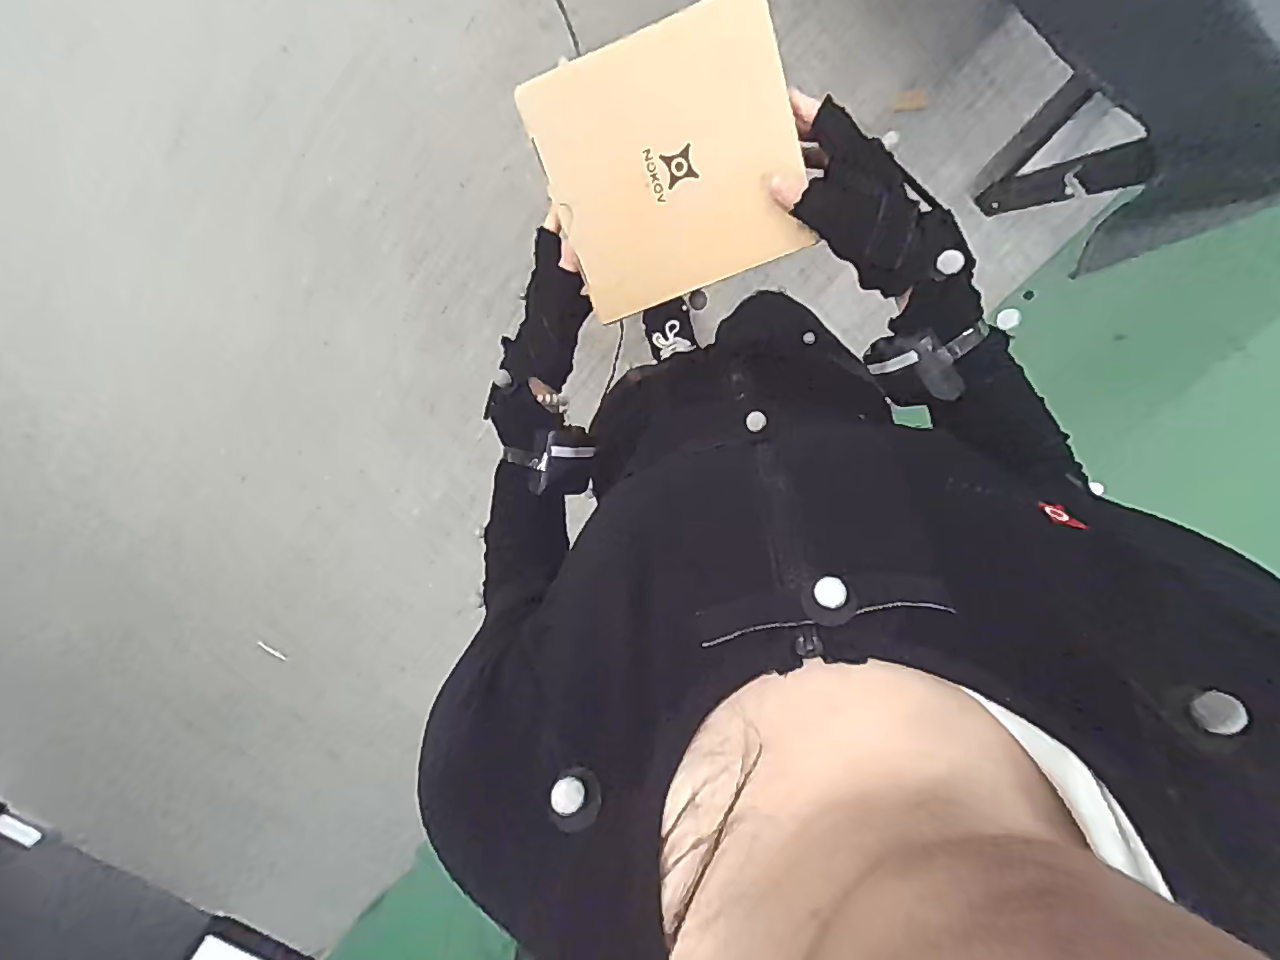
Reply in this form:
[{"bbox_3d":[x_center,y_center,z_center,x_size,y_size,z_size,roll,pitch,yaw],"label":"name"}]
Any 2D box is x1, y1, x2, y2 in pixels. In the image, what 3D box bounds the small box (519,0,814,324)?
[{"bbox_3d":[0.023,-0.247,0.458,0.179,0.176,0.168,-18,109,8],"label":"small box"}]
